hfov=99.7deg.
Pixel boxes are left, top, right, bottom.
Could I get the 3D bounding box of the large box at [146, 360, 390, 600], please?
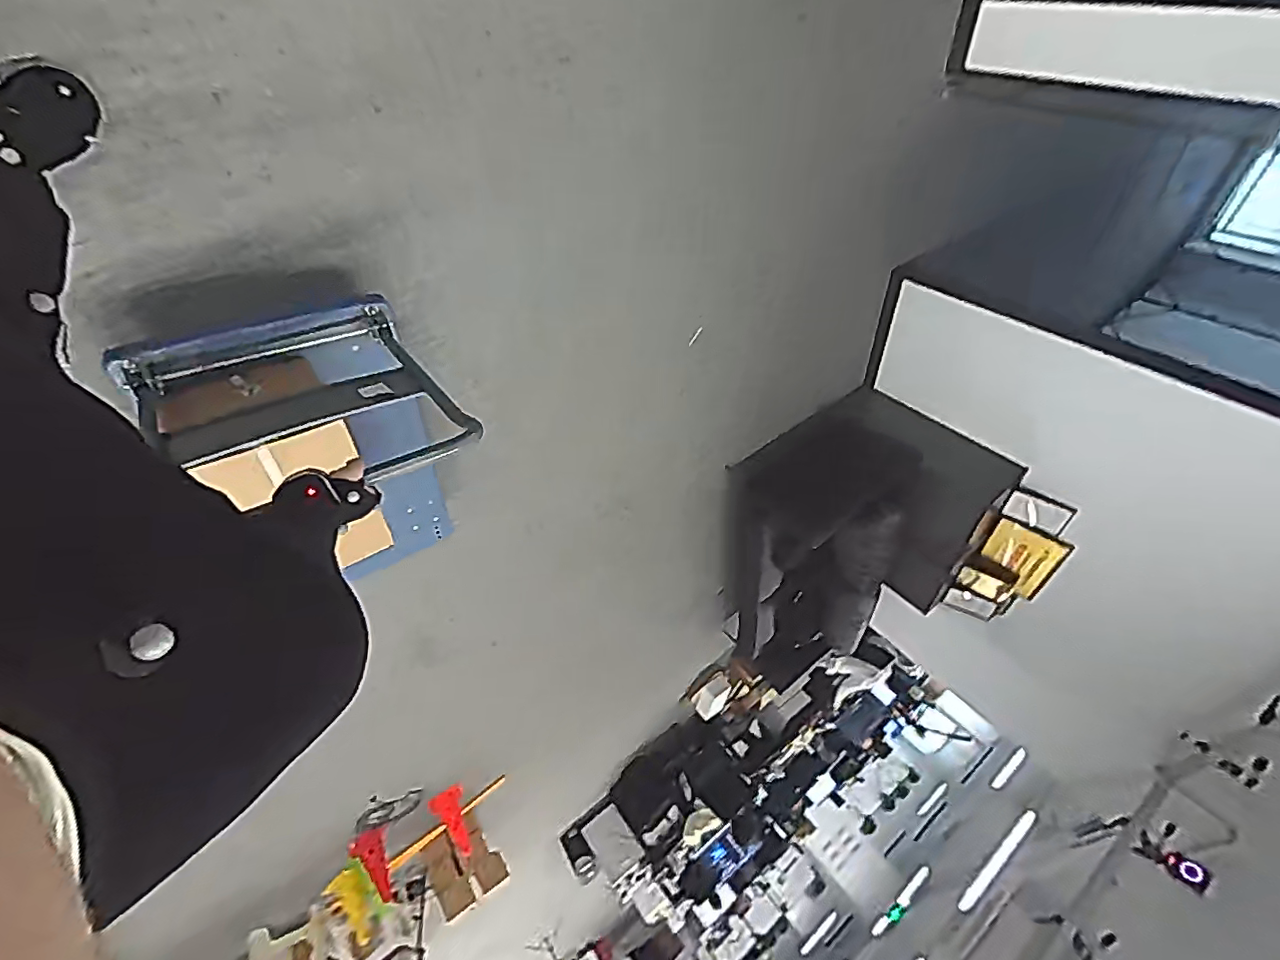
[{"bbox_3d":[-0.852,-0.007,1.272,0.320,0.320,0.408,-26,140,-28],"label":"large box"}]
